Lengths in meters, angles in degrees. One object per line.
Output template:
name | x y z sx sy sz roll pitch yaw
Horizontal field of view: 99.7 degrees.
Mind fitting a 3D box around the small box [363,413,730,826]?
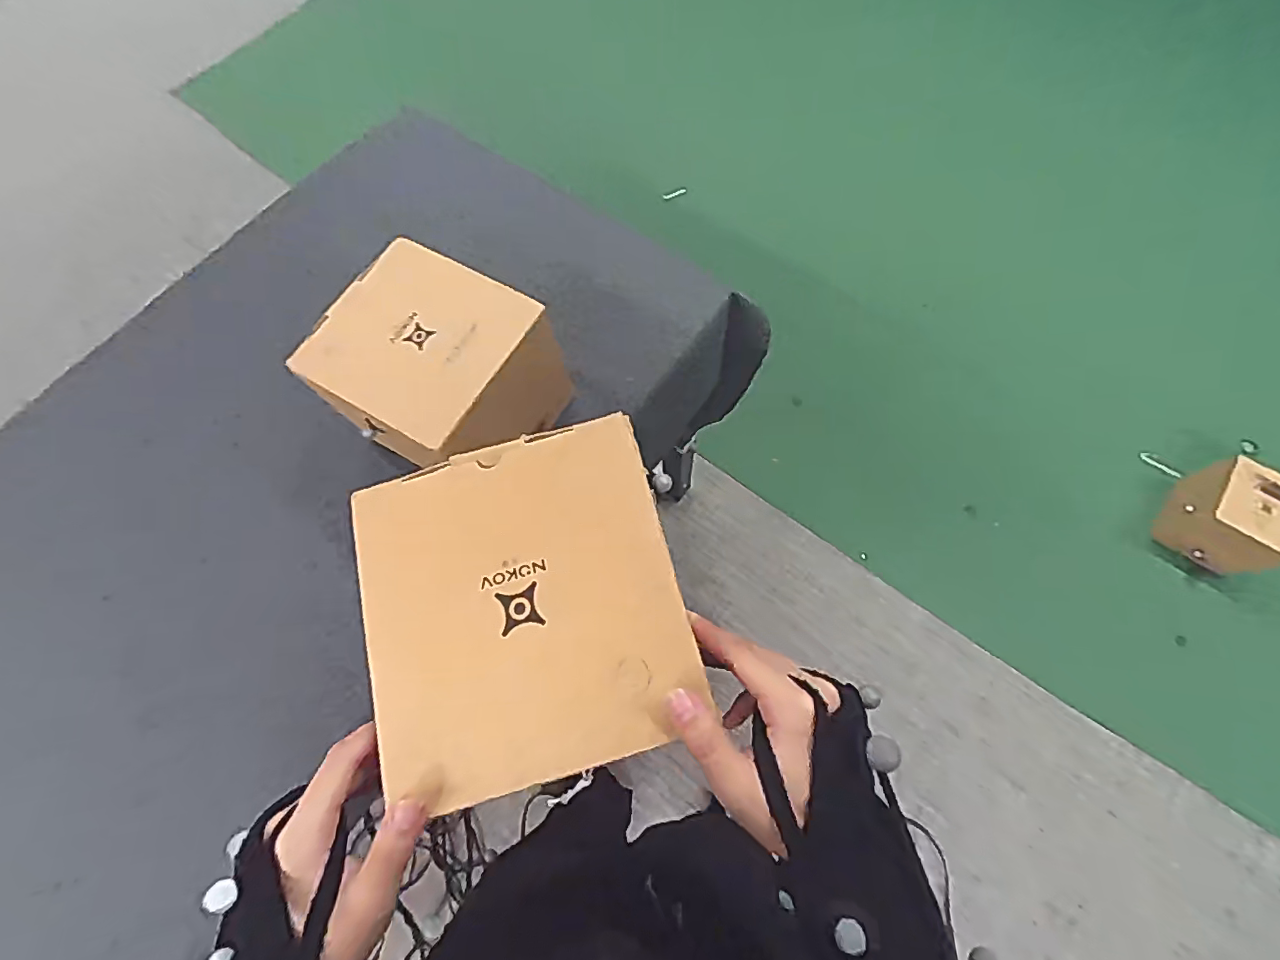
small box | -0.049 0.086 0.355 0.168 0.176 0.179 -17 71 -1

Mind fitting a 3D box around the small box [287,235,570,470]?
small box | -0.194 -0.104 0.554 0.179 0.176 0.168 27 75 11
